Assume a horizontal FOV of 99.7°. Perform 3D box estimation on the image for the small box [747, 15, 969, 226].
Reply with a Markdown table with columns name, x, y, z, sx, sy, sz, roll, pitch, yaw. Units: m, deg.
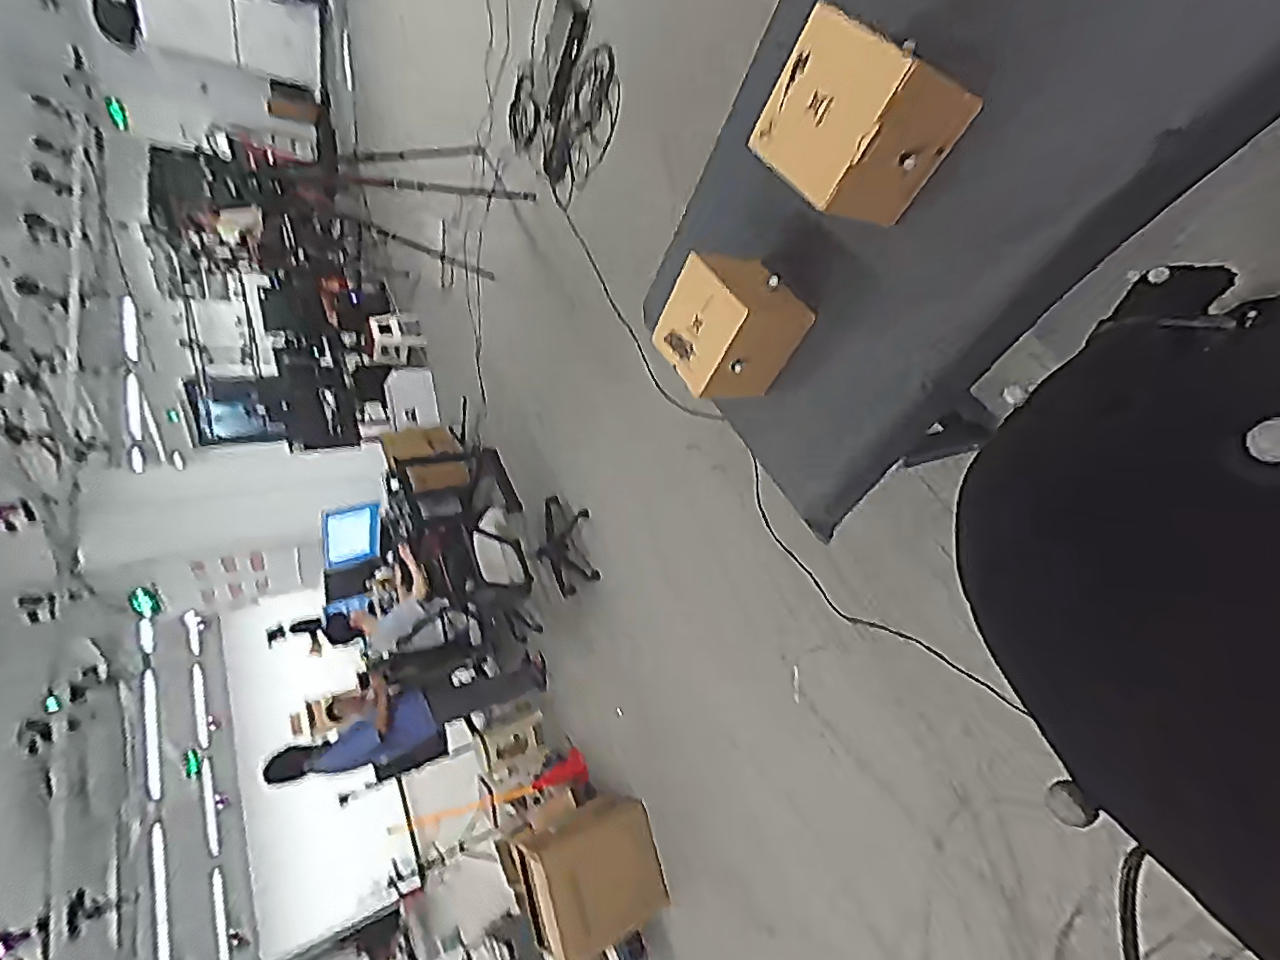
| name | x | y | z | sx | sy | sz | roll | pitch | yaw |
| --- | --- | --- | --- | --- | --- | --- | --- | --- | --- |
| small box | 0.284 | -0.459 | 0.714 | 0.179 | 0.176 | 0.168 | 59 | 140 | 26 |

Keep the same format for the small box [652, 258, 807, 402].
| name | x | y | z | sx | sy | sz | roll | pitch | yaw |
| --- | --- | --- | --- | --- | --- | --- | --- | --- | --- |
| small box | 0.154 | -0.254 | 0.941 | 0.168 | 0.176 | 0.179 | 57 | 137 | 29 |
